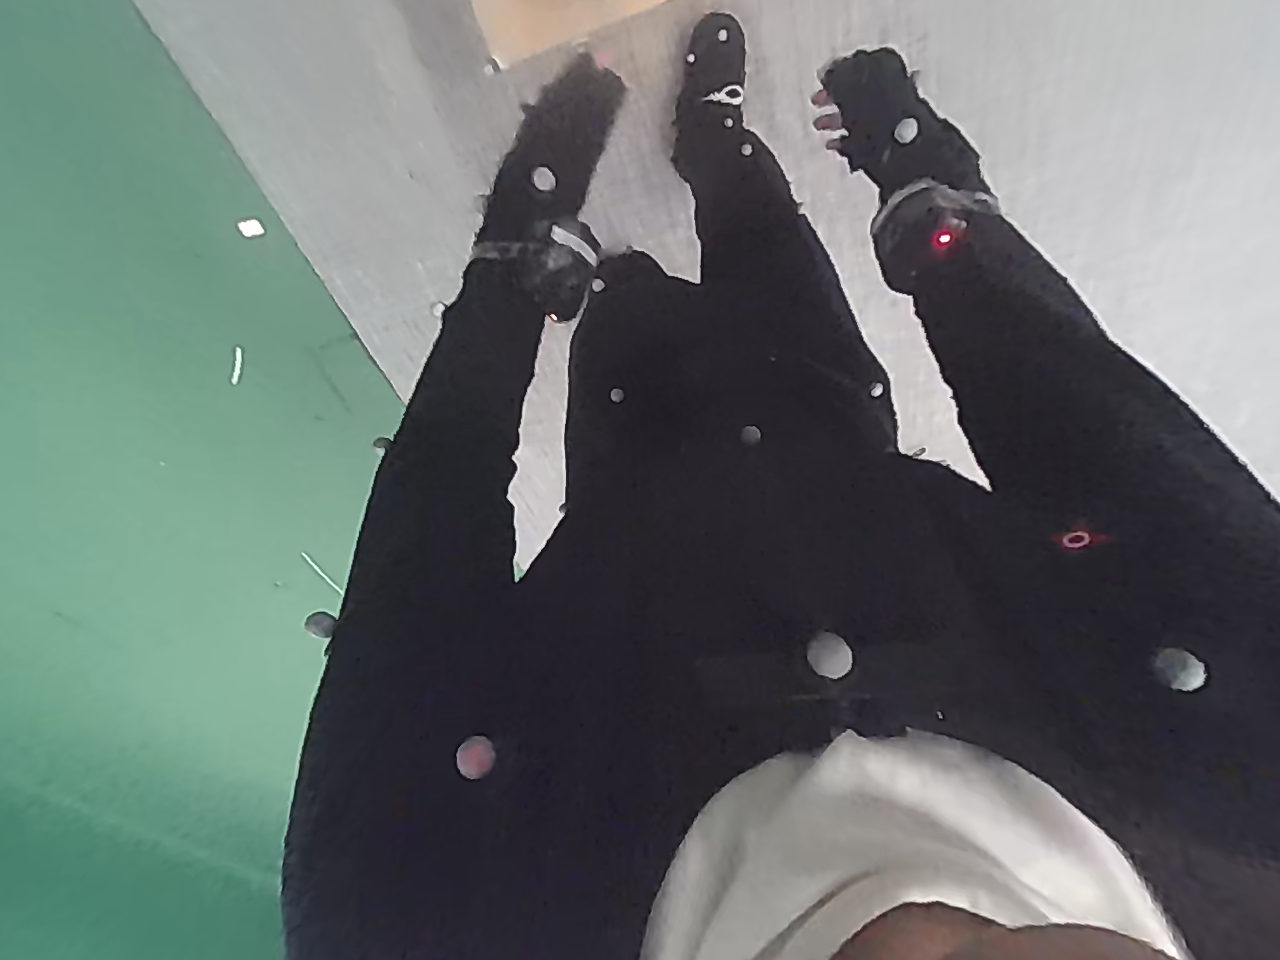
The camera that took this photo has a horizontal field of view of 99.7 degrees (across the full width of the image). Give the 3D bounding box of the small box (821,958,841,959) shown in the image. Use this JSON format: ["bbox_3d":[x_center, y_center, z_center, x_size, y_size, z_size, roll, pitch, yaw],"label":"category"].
[{"bbox_3d":[0.584,1.666,1.738,0.179,0.176,0.168,-15,129,11],"label":"small box"}]

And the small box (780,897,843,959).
[{"bbox_3d":[0.590,1.561,1.865,0.168,0.176,0.179,-16,128,12],"label":"small box"}]
